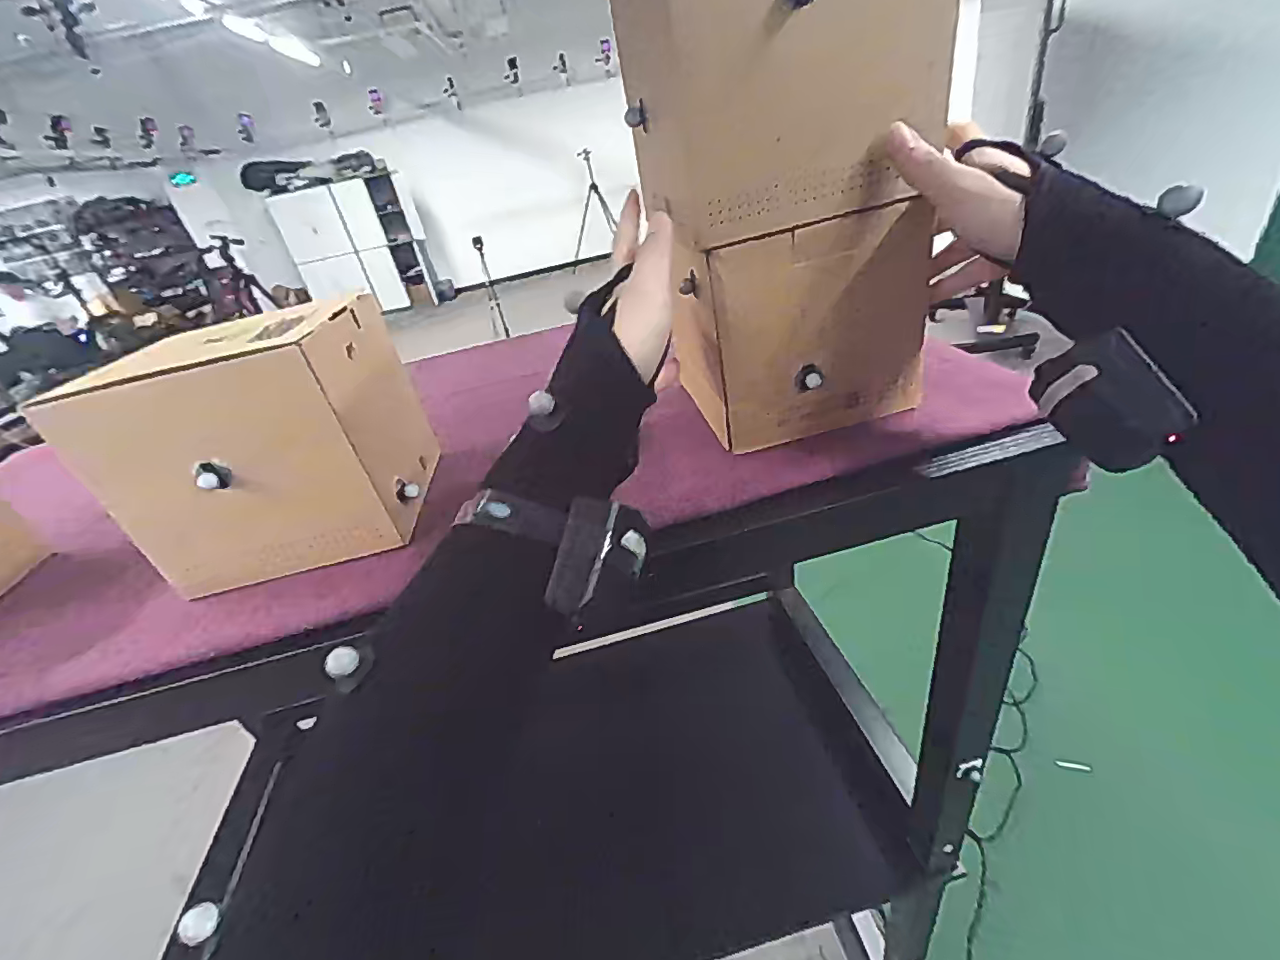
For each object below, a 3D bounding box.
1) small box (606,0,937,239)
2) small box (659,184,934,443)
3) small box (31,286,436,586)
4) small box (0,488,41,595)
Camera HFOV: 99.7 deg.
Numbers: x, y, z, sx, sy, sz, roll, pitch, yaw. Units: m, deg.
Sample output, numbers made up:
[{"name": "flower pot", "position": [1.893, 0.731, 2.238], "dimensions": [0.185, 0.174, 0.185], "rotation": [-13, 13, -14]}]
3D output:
[{"name": "small box", "position": [0.086, -0.284, 0.380], "dimensions": [0.179, 0.176, 0.168], "rotation": [-15, 35, -2]}, {"name": "small box", "position": [0.122, -0.156, 0.478], "dimensions": [0.168, 0.176, 0.179], "rotation": [-15, 34, -2]}, {"name": "small box", "position": [-0.291, -0.041, 0.446], "dimensions": [0.179, 0.176, 0.168], "rotation": [-15, 31, -1]}, {"name": "small box", "position": [-0.645, 0.060, 0.414], "dimensions": [0.168, 0.176, 0.179], "rotation": [-16, 32, -4]}]
